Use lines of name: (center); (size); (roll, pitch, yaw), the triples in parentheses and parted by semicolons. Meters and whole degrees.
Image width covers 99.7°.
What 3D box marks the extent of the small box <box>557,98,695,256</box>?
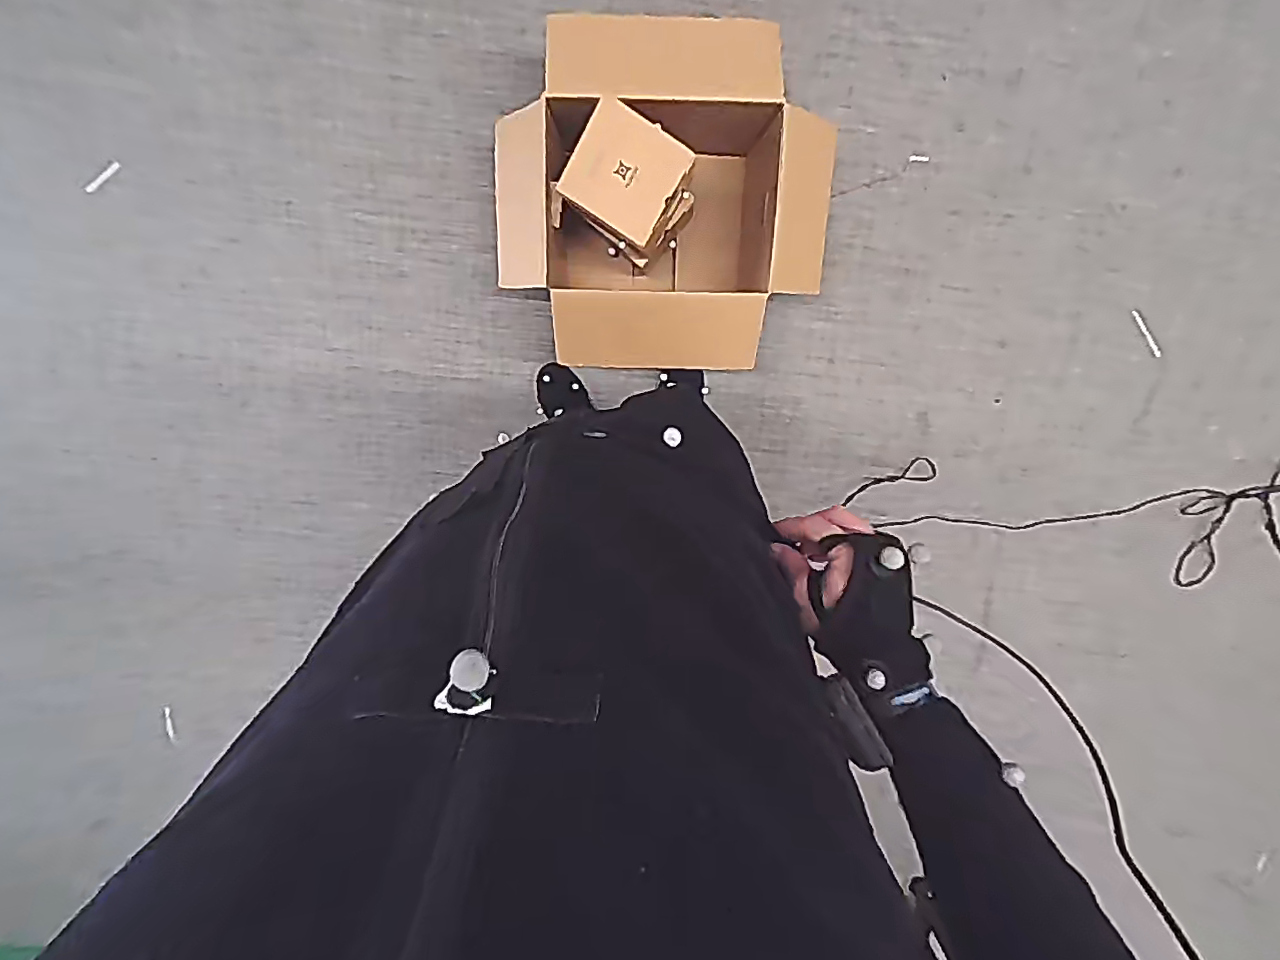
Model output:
small box: (-0.018, -0.521, 0.961); (0.179, 0.176, 0.168); (32, 105, -5)
